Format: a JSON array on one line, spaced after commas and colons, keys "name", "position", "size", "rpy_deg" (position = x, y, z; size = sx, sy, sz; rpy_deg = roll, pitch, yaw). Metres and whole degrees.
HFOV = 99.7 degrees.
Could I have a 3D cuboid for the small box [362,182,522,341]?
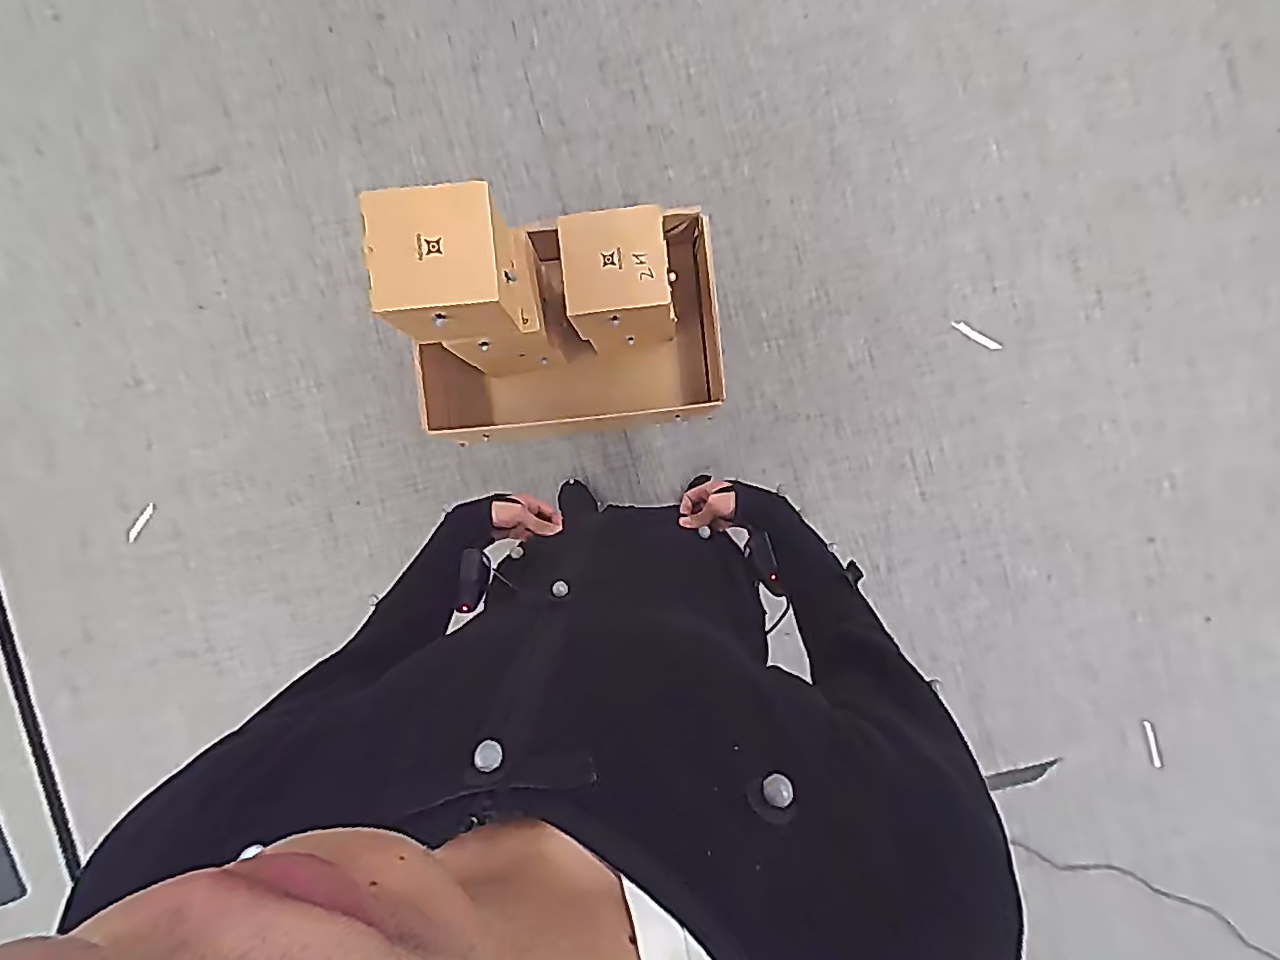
[{"name": "small box", "position": [-0.280, -0.314, 0.807], "size": [0.179, 0.176, 0.168], "rpy_deg": [-6, 91, 0]}]
